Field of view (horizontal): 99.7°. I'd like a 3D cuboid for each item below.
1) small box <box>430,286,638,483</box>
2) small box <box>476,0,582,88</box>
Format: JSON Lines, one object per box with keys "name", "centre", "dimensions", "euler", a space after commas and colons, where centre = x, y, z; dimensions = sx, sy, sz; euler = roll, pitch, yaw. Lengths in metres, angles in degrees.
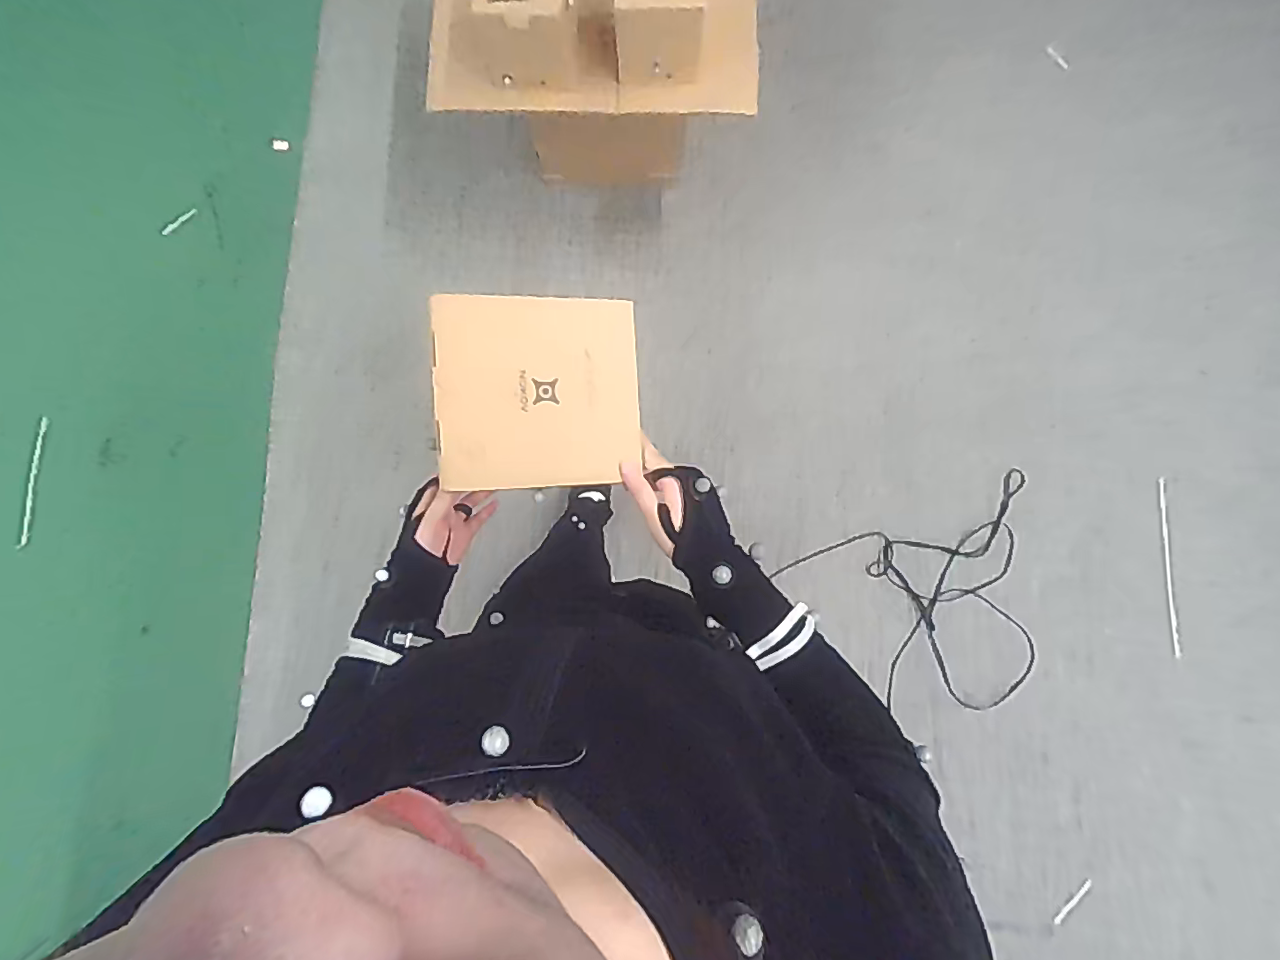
{"name": "small box", "centre": [-0.107, -0.082, 0.545], "dimensions": [0.179, 0.176, 0.168], "euler": [-2, 90, -15]}
{"name": "small box", "centre": [-0.209, -0.913, 1.062], "dimensions": [0.168, 0.176, 0.179], "euler": [3, 83, 1]}
